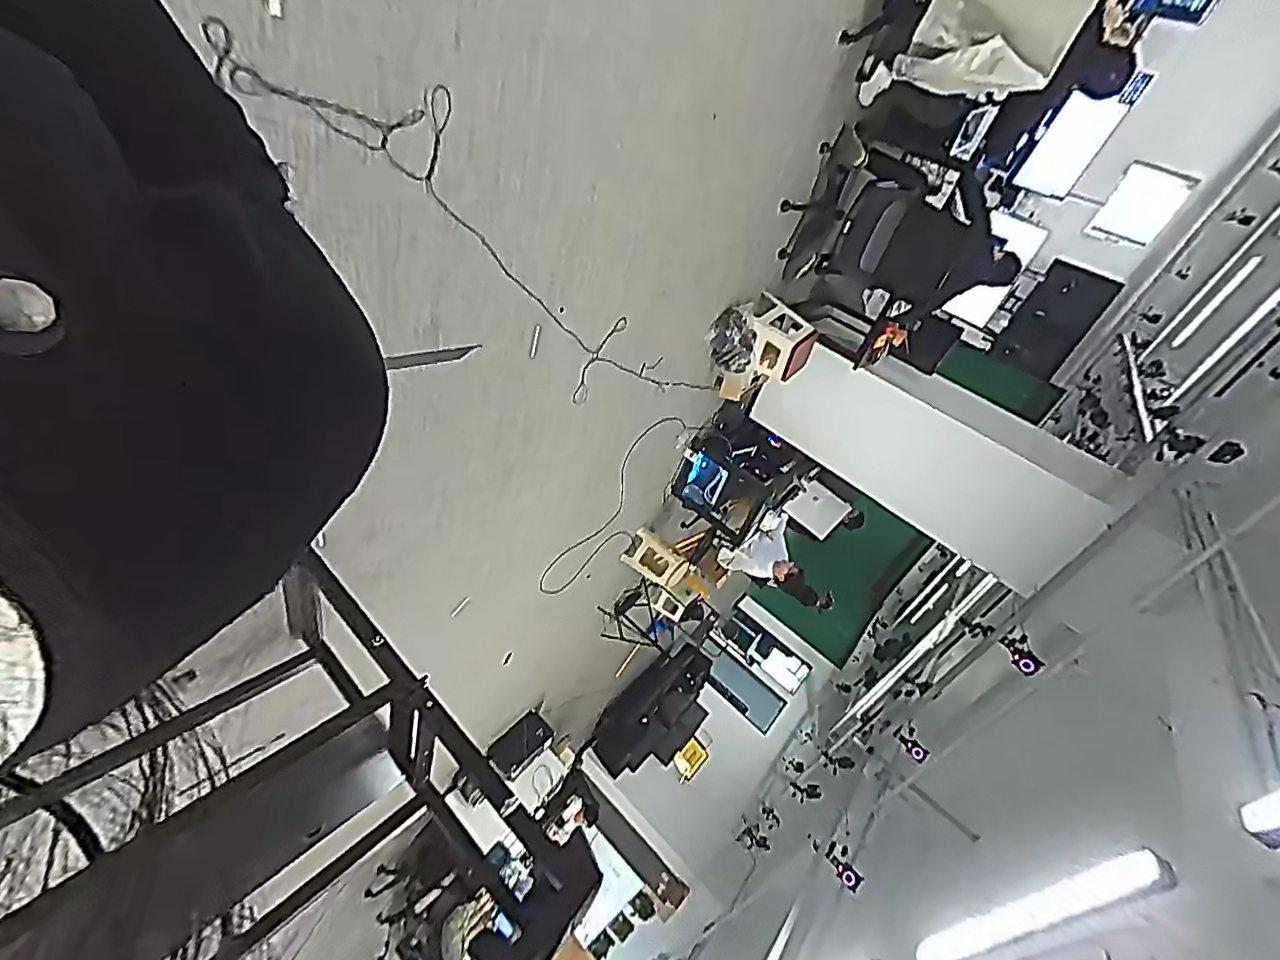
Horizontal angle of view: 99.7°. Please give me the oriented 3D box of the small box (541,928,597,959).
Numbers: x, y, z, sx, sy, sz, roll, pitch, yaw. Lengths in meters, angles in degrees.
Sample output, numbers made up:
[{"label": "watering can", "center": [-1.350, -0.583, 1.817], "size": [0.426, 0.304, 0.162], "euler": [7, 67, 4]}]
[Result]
[{"label": "small box", "center": [-0.186, 1.216, 1.268], "size": [0.179, 0.176, 0.168], "euler": [-18, 143, -53]}]
